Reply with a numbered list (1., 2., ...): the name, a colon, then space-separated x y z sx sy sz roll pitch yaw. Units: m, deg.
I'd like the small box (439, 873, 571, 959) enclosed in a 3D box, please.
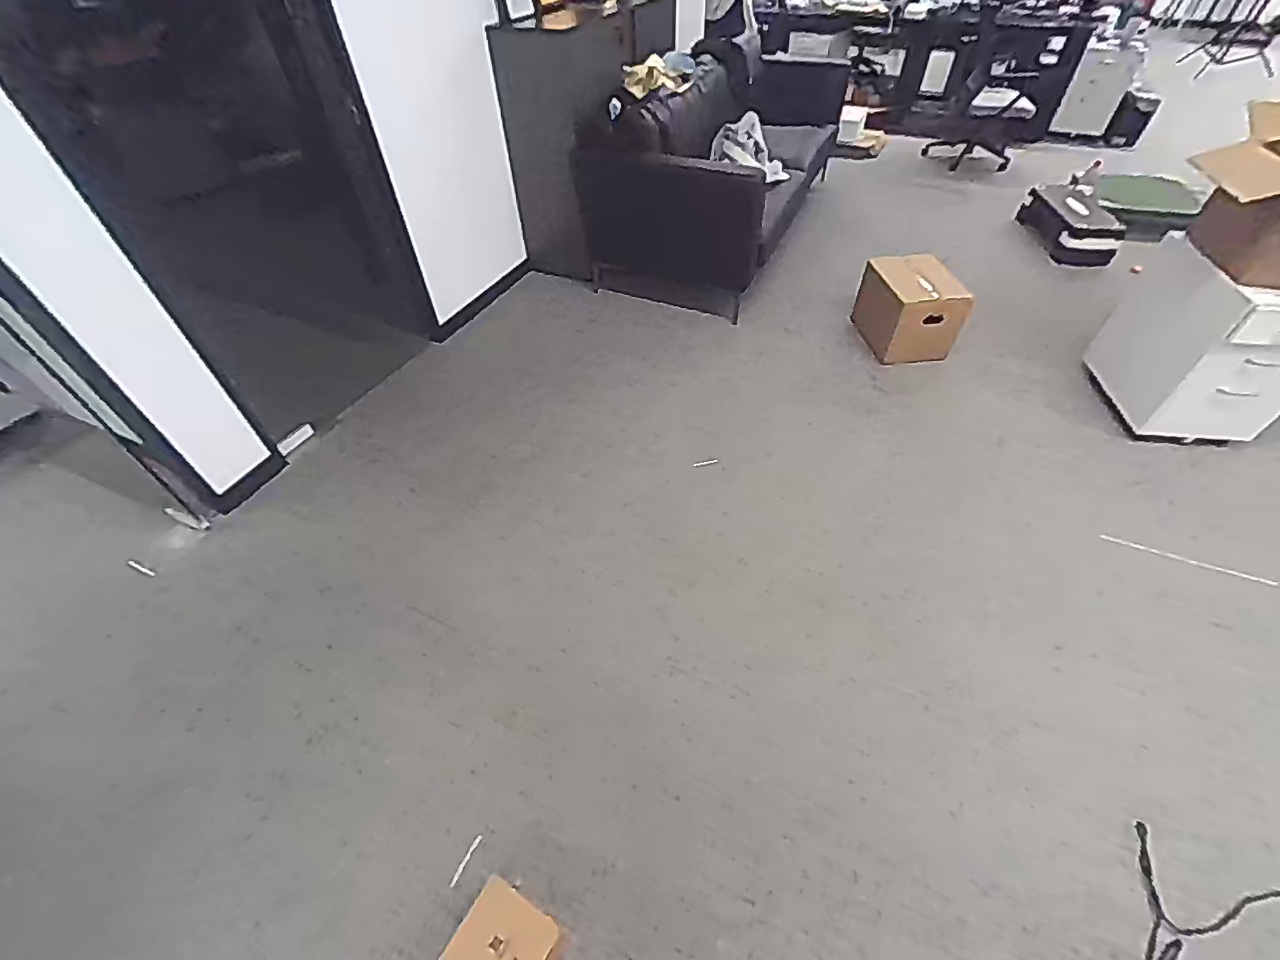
1. small box: -0.257 0.927 1.067 0.179 0.176 0.168 23 52 21
